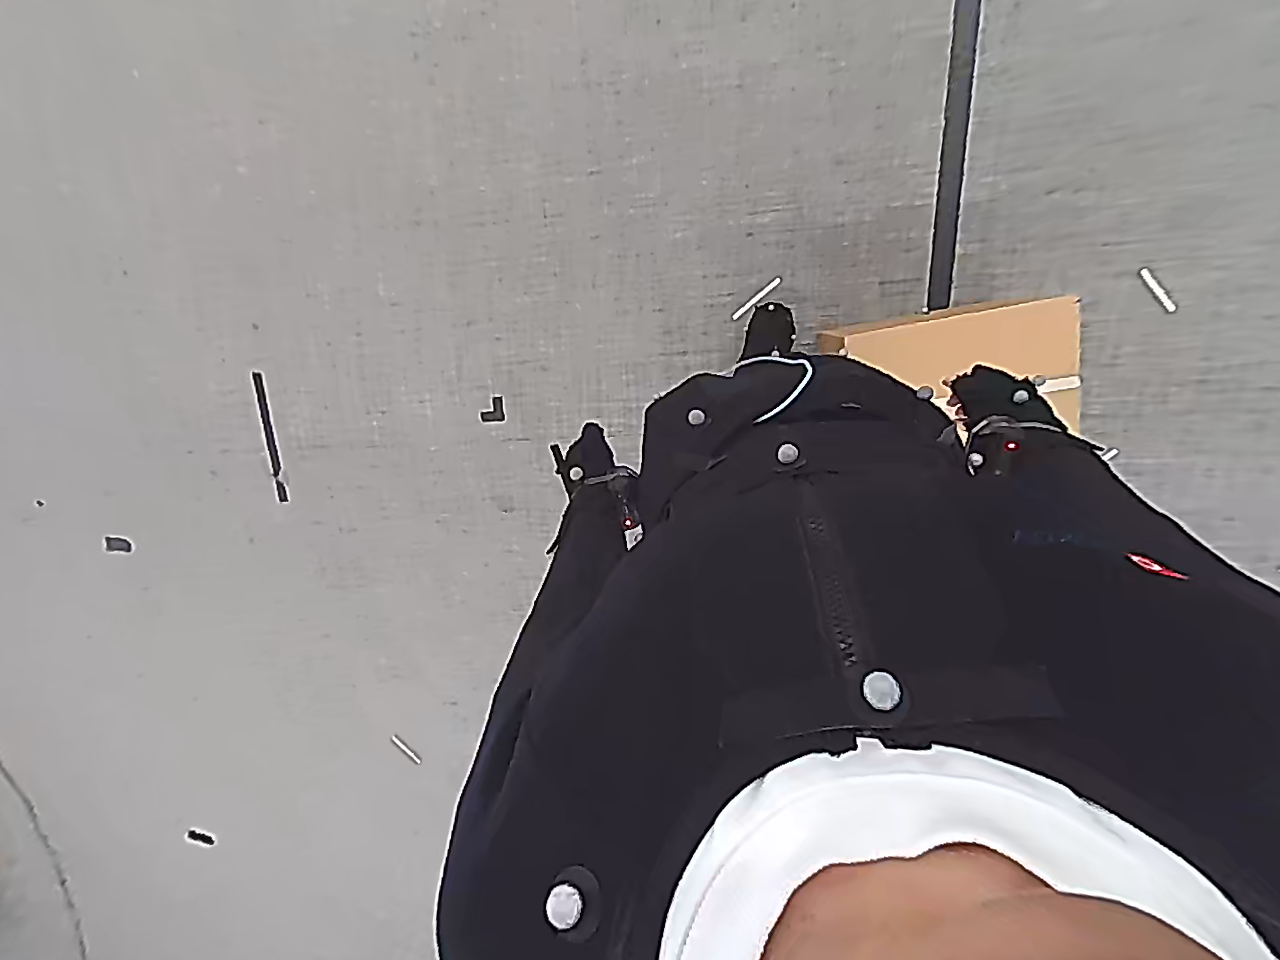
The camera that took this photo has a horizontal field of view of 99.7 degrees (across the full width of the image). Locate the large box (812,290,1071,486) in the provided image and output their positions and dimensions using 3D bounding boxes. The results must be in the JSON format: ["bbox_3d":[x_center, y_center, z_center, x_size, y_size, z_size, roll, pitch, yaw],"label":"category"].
[{"bbox_3d":[0.618,-0.202,1.173,0.408,0.320,0.320,-9,106,10],"label":"large box"}]
